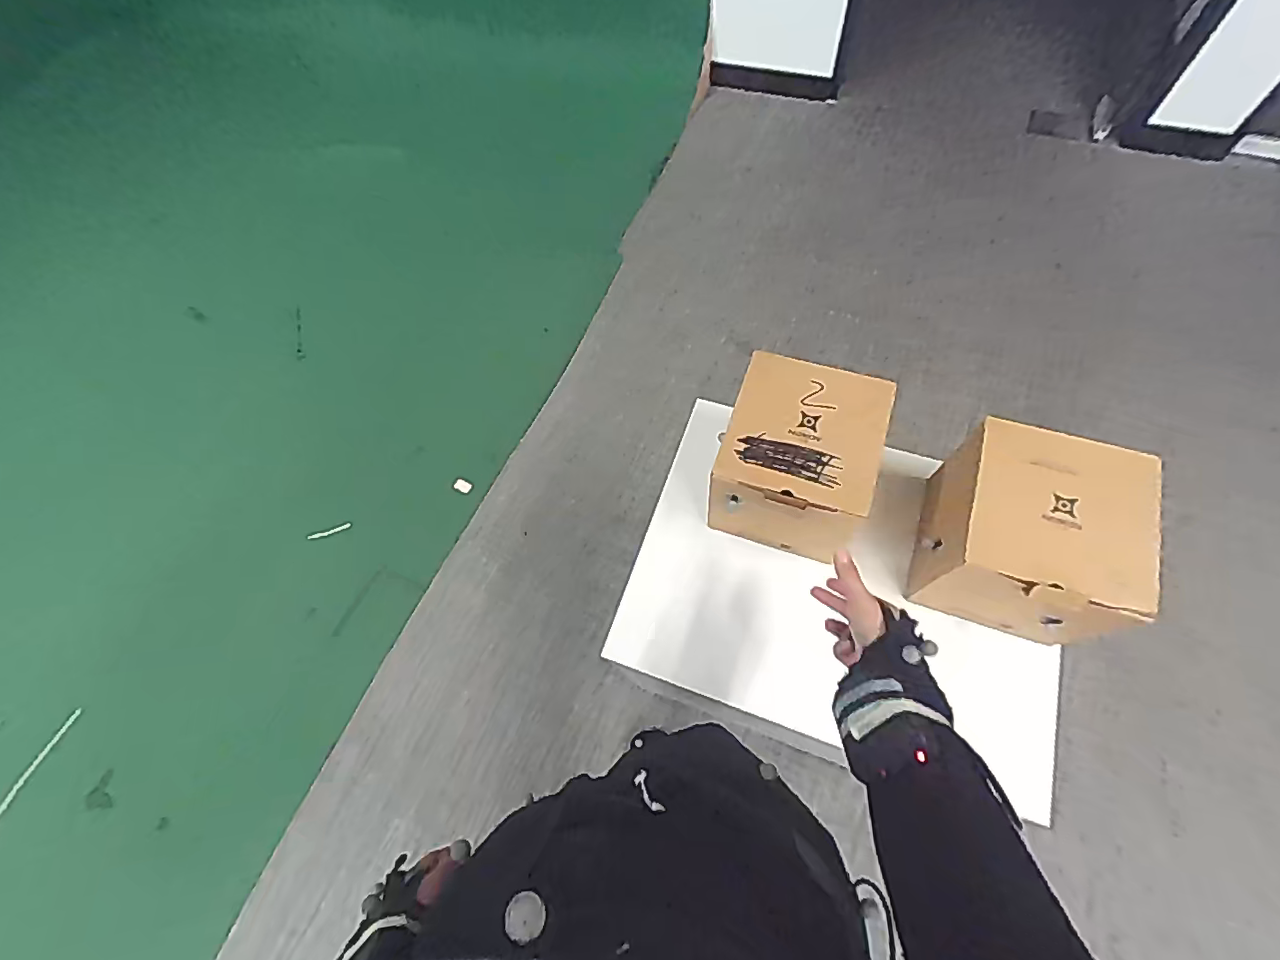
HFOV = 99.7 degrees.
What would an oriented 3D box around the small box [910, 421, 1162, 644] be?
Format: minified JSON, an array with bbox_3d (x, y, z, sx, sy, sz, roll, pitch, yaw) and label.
[{"bbox_3d":[0.422,0.066,0.601,0.168,0.176,0.179,17,67,12],"label":"small box"}]
